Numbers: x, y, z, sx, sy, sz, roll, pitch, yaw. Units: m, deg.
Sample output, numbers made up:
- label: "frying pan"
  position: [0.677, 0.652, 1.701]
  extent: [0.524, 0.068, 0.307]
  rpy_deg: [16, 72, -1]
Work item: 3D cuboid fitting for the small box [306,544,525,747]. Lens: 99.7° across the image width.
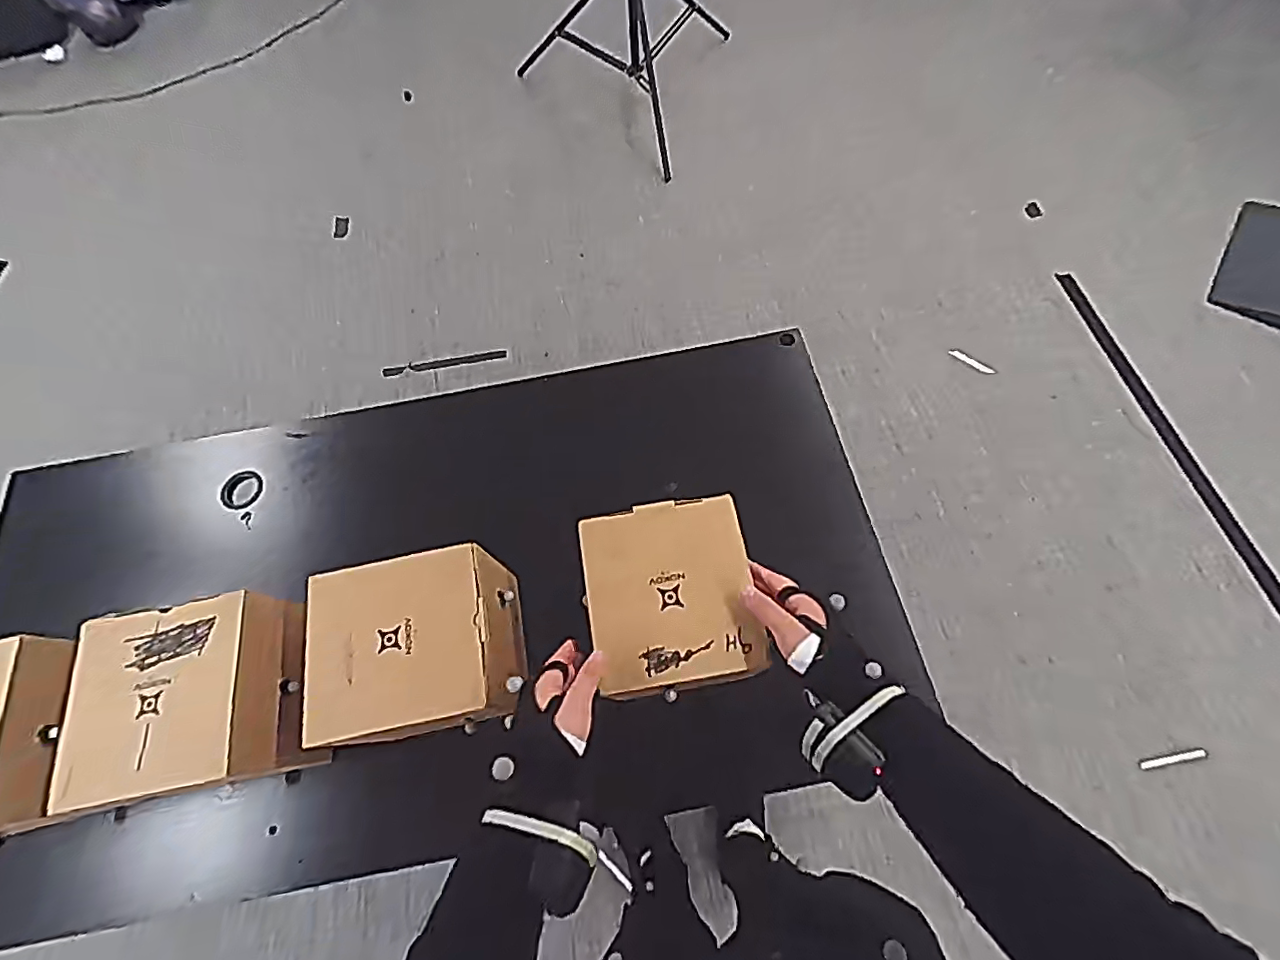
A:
- label: "small box"
  position: [-0.235, 0.187, 0.604]
  extent: [0.179, 0.176, 0.168]
  rpy_deg: [-13, 66, -1]
